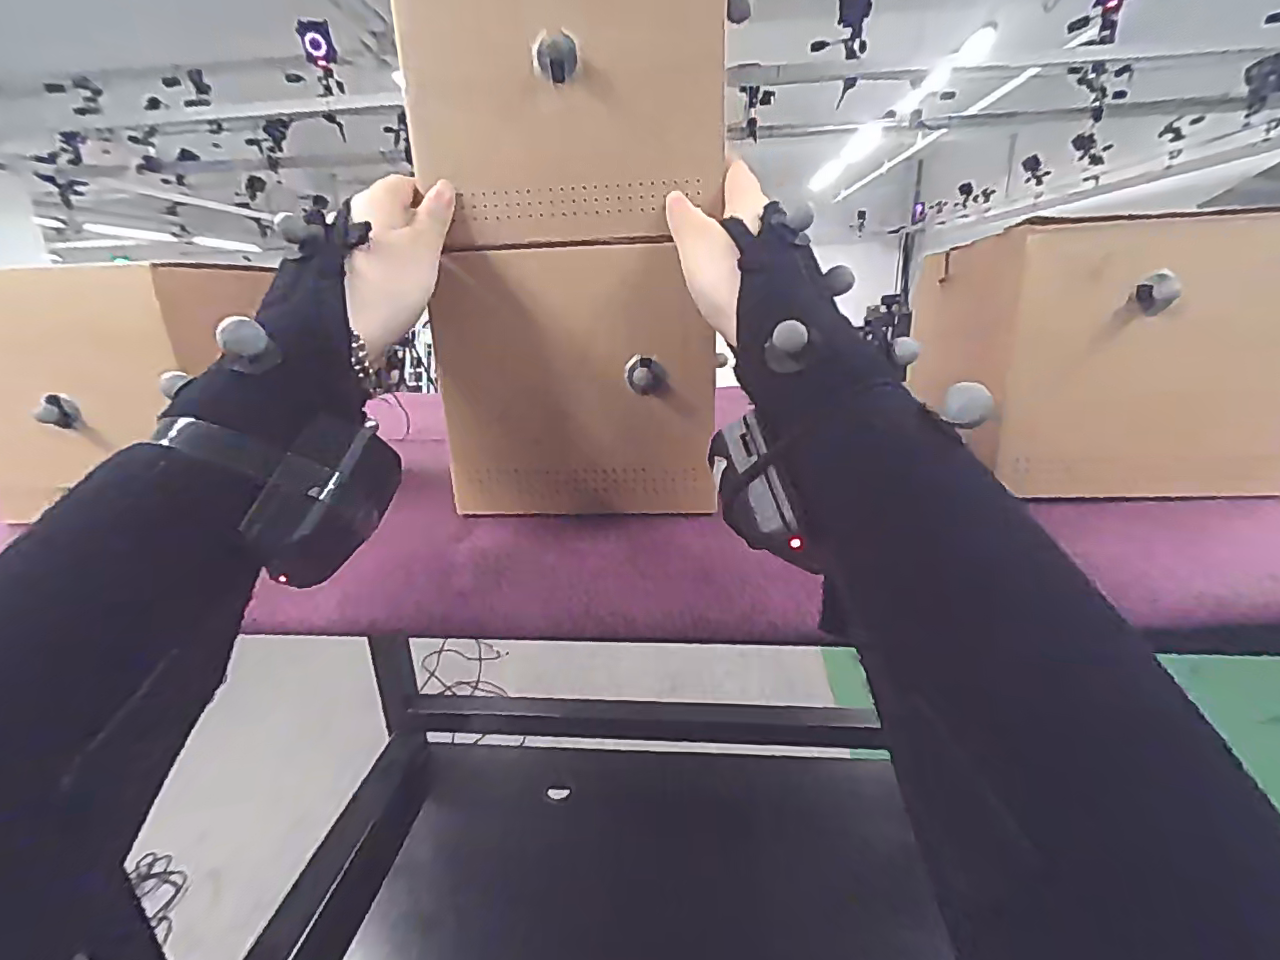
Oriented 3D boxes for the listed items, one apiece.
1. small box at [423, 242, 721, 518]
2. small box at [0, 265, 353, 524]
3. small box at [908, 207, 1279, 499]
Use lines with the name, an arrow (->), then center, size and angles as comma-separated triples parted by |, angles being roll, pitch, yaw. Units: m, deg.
small box -> -0.034, -0.075, 0.408 | 0.179, 0.176, 0.168 | -2, 16, 4
small box -> -0.356, -0.072, 0.424 | 0.168, 0.176, 0.179 | 1, 19, 4
small box -> 0.314, -0.087, 0.398 | 0.179, 0.176, 0.168 | 0, 16, 6
